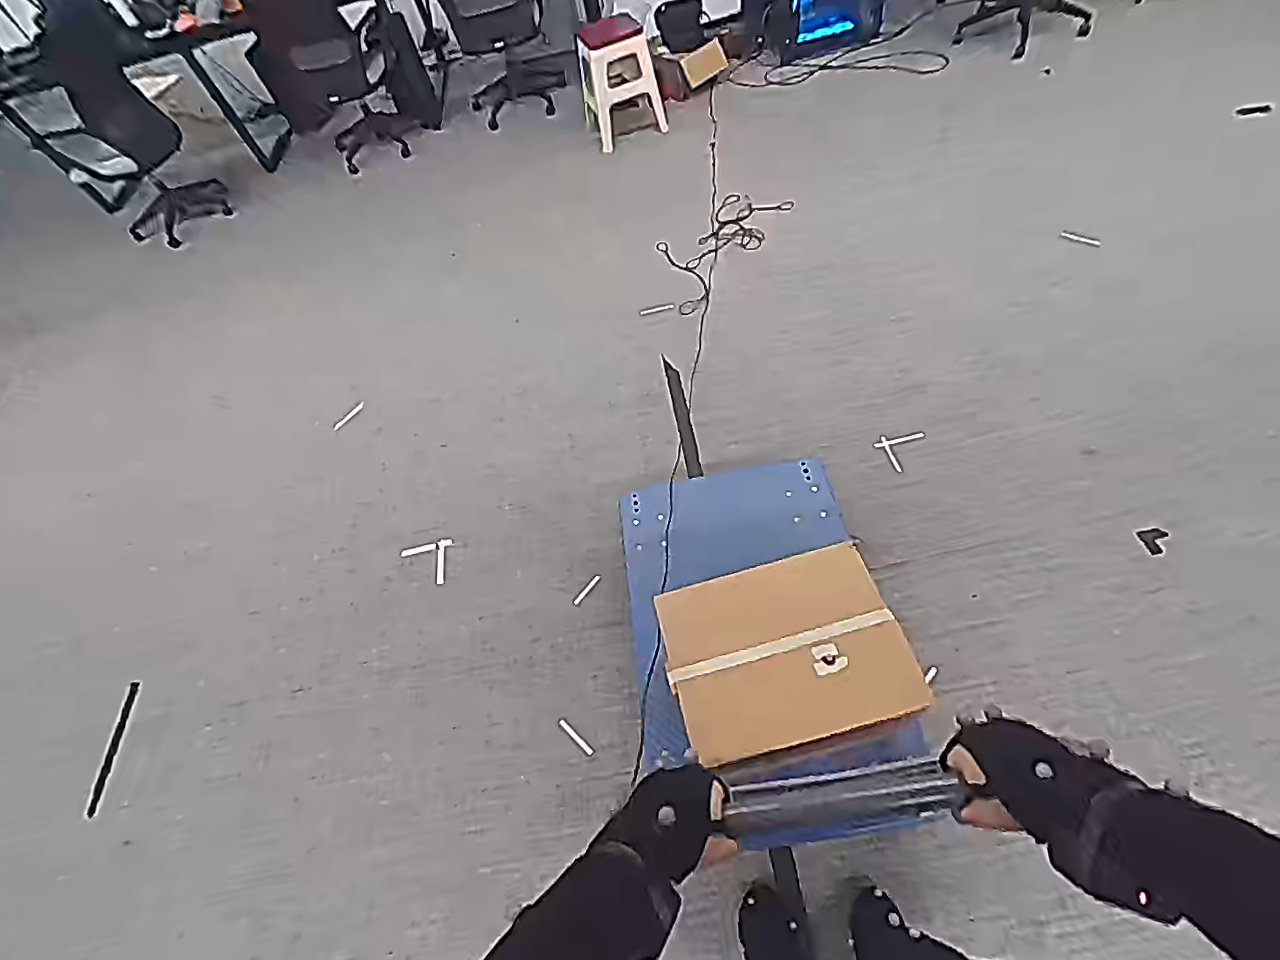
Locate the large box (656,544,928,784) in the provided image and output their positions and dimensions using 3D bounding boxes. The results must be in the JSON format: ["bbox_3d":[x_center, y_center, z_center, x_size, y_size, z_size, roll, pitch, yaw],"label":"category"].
[{"bbox_3d":[0.278,0.384,1.099,0.408,0.320,0.320,-16,56,0],"label":"large box"}]
